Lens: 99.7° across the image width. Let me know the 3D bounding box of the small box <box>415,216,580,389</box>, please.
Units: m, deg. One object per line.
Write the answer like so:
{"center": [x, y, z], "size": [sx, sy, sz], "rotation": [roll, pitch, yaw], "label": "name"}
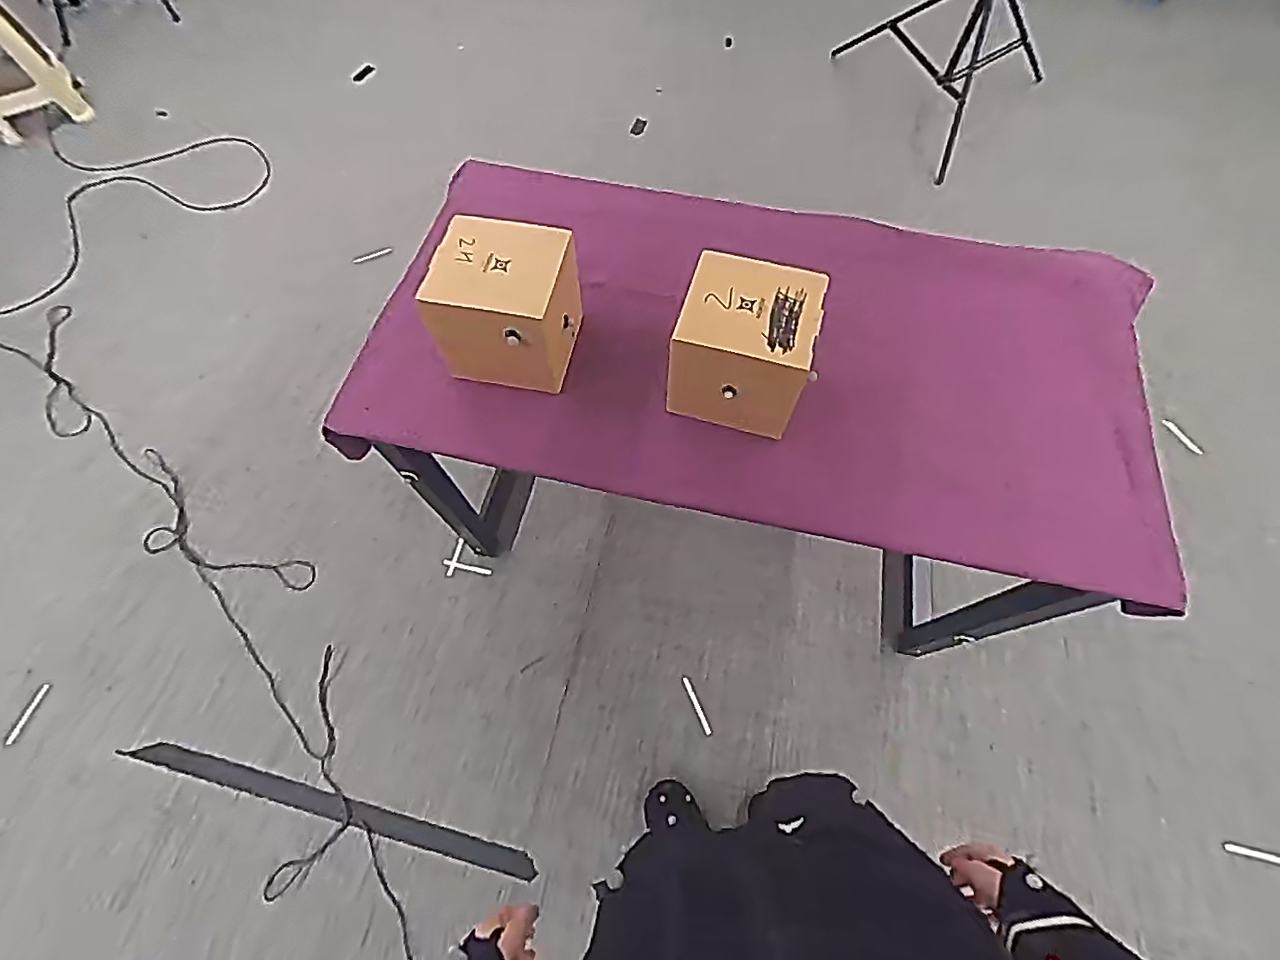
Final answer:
{"center": [-0.193, -0.253, 0.798], "size": [0.179, 0.176, 0.168], "rotation": [10, 64, 5], "label": "small box"}
